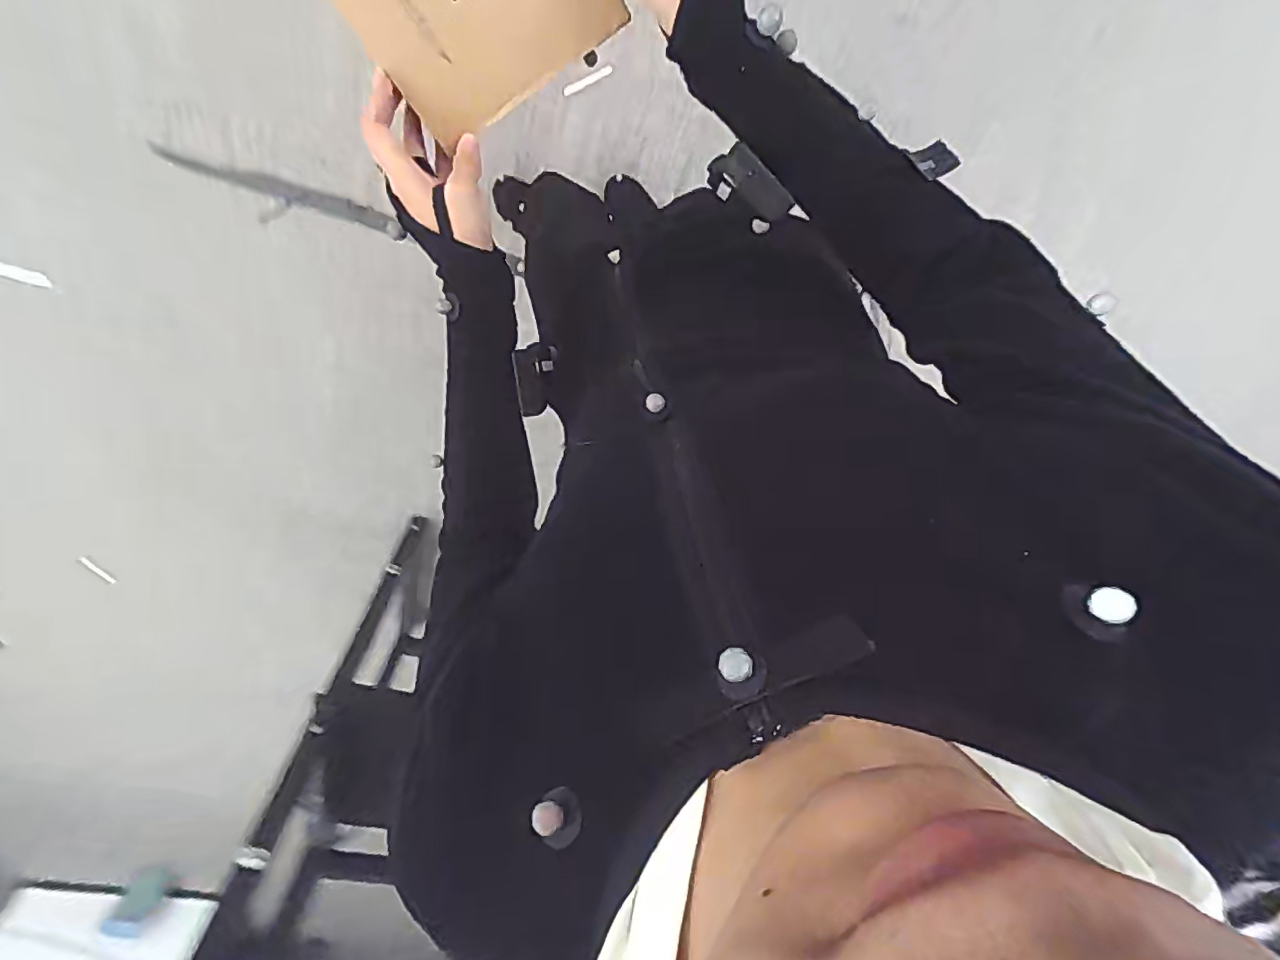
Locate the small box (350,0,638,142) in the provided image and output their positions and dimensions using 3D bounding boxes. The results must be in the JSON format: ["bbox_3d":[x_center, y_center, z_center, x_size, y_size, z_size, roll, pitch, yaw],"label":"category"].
[{"bbox_3d":[-0.120,-0.405,0.410,0.179,0.176,0.168,-24,131,17],"label":"small box"}]
